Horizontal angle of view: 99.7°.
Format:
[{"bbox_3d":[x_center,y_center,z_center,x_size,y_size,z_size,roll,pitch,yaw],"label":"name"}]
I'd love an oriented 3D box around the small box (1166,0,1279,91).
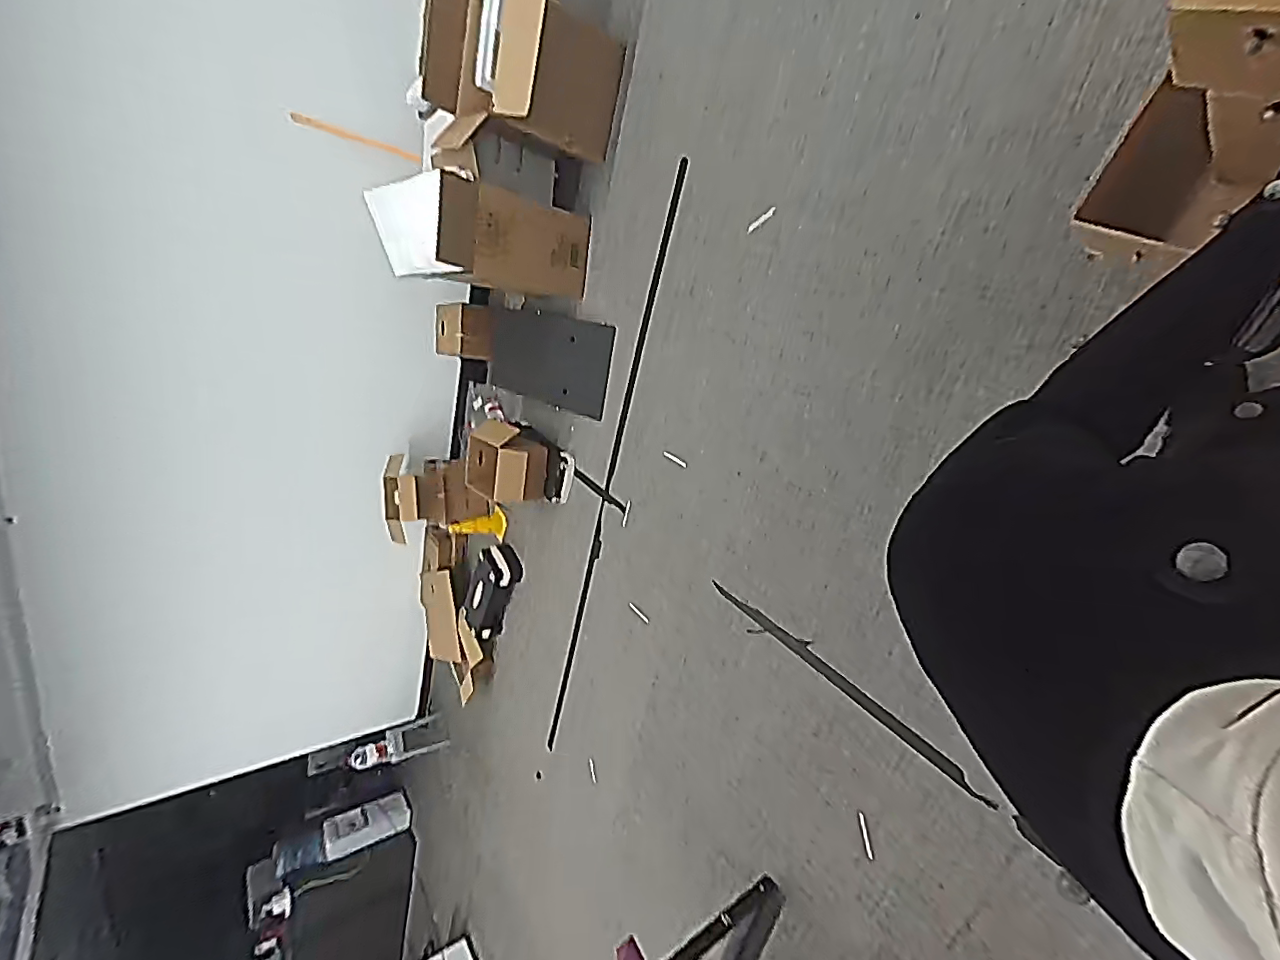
[{"bbox_3d":[0.665,-0.498,0.511,0.179,0.176,0.168,44,123,38],"label":"small box"}]
